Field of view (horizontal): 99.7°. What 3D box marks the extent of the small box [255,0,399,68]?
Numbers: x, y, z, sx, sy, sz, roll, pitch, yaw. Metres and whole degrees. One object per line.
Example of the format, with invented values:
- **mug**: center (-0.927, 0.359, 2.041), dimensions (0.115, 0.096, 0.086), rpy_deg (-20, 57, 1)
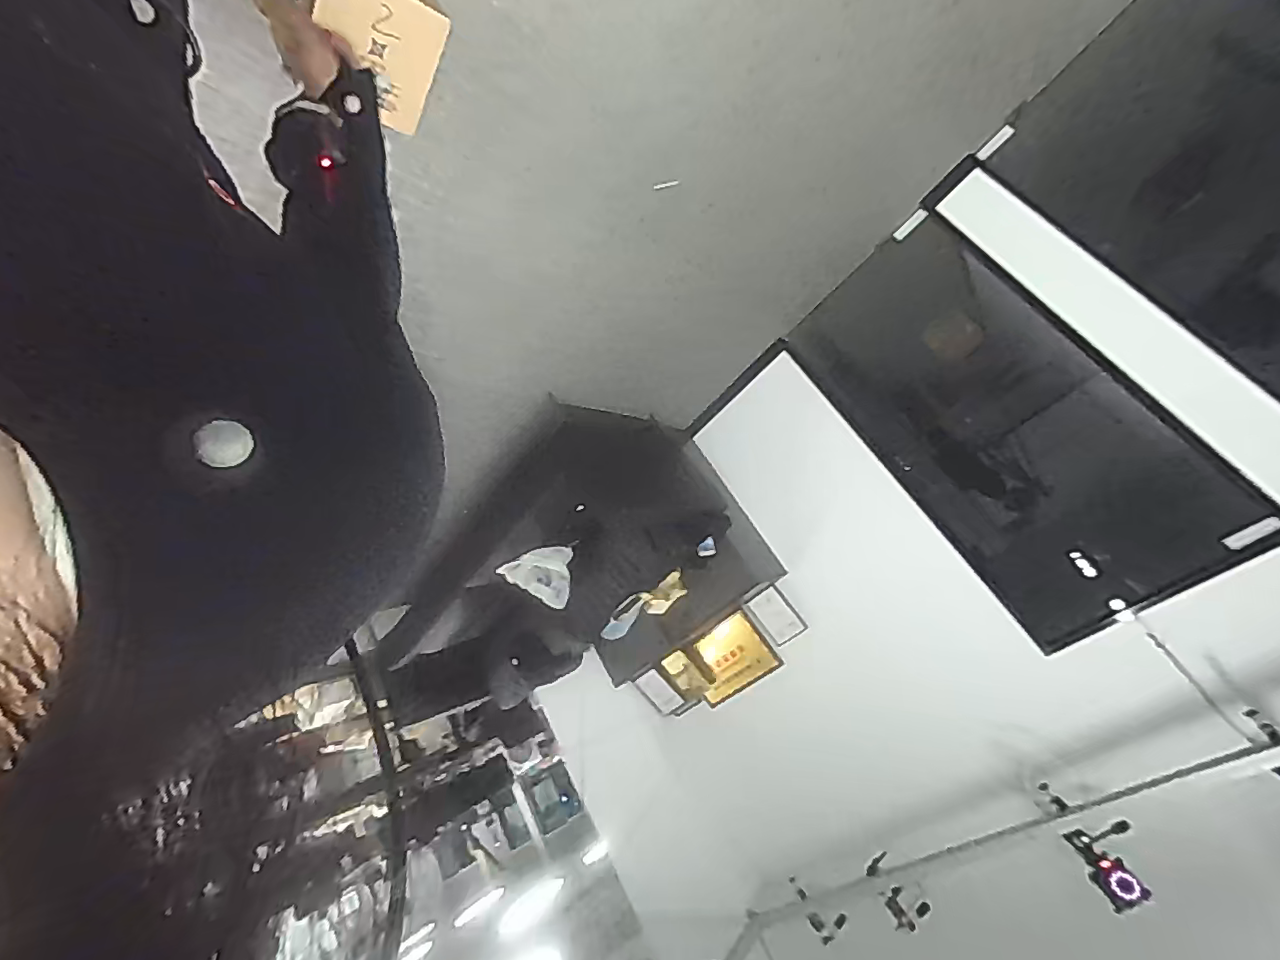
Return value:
- **small box**: center (-0.494, -0.803, 0.833), dimensions (0.179, 0.176, 0.168), rpy_deg (-6, 149, -51)
